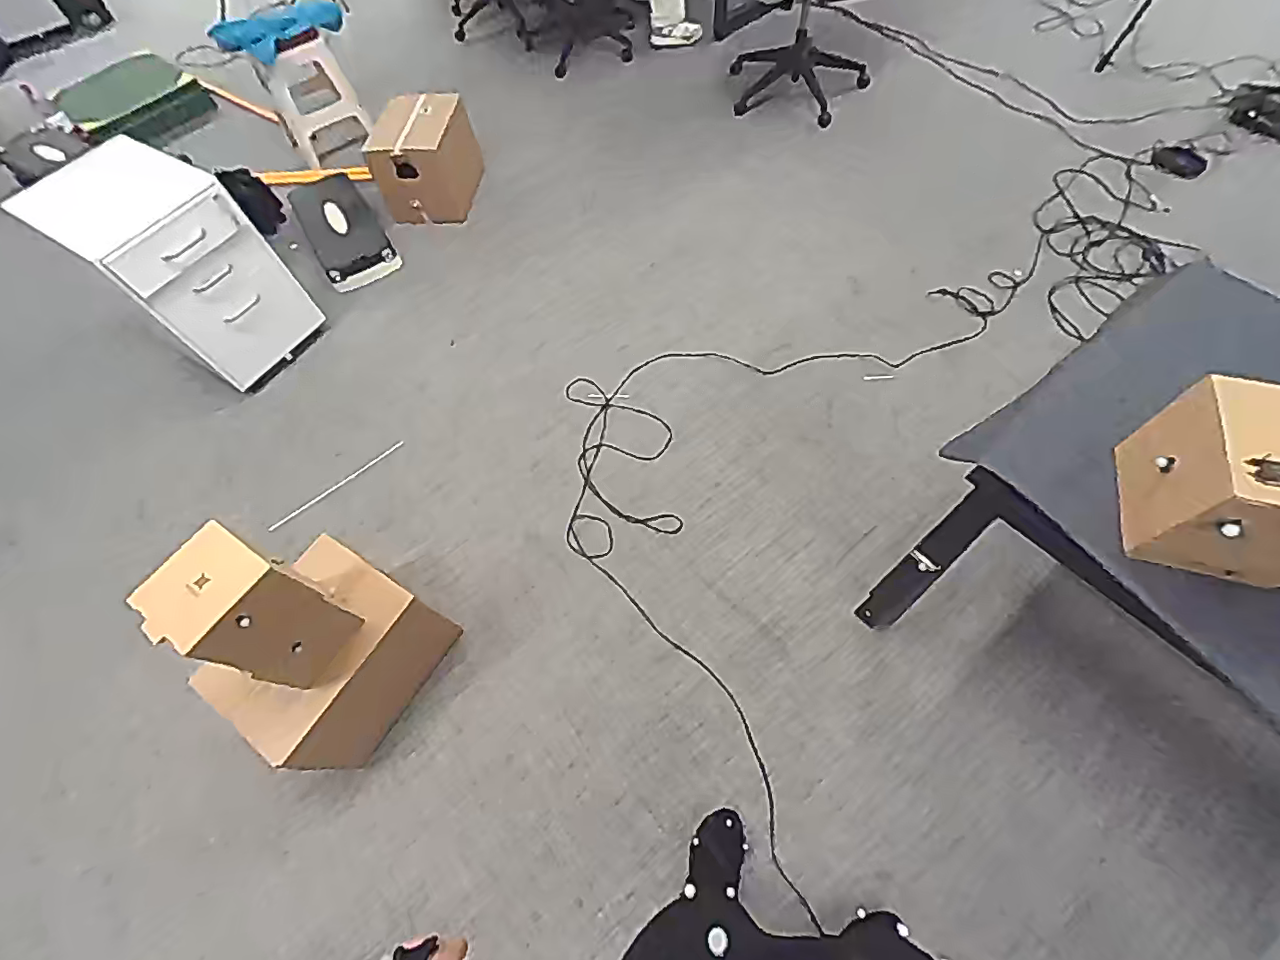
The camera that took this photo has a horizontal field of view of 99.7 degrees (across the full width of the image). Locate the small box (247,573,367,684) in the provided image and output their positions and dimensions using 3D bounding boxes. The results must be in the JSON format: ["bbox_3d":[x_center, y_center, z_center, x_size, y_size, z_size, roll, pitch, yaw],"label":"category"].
[{"bbox_3d":[-0.714,0.300,1.122,0.168,0.176,0.179,28,67,18],"label":"small box"}]

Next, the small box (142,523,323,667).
[{"bbox_3d":[-0.720,0.214,0.985,0.168,0.176,0.179,29,69,18],"label":"small box"}]
